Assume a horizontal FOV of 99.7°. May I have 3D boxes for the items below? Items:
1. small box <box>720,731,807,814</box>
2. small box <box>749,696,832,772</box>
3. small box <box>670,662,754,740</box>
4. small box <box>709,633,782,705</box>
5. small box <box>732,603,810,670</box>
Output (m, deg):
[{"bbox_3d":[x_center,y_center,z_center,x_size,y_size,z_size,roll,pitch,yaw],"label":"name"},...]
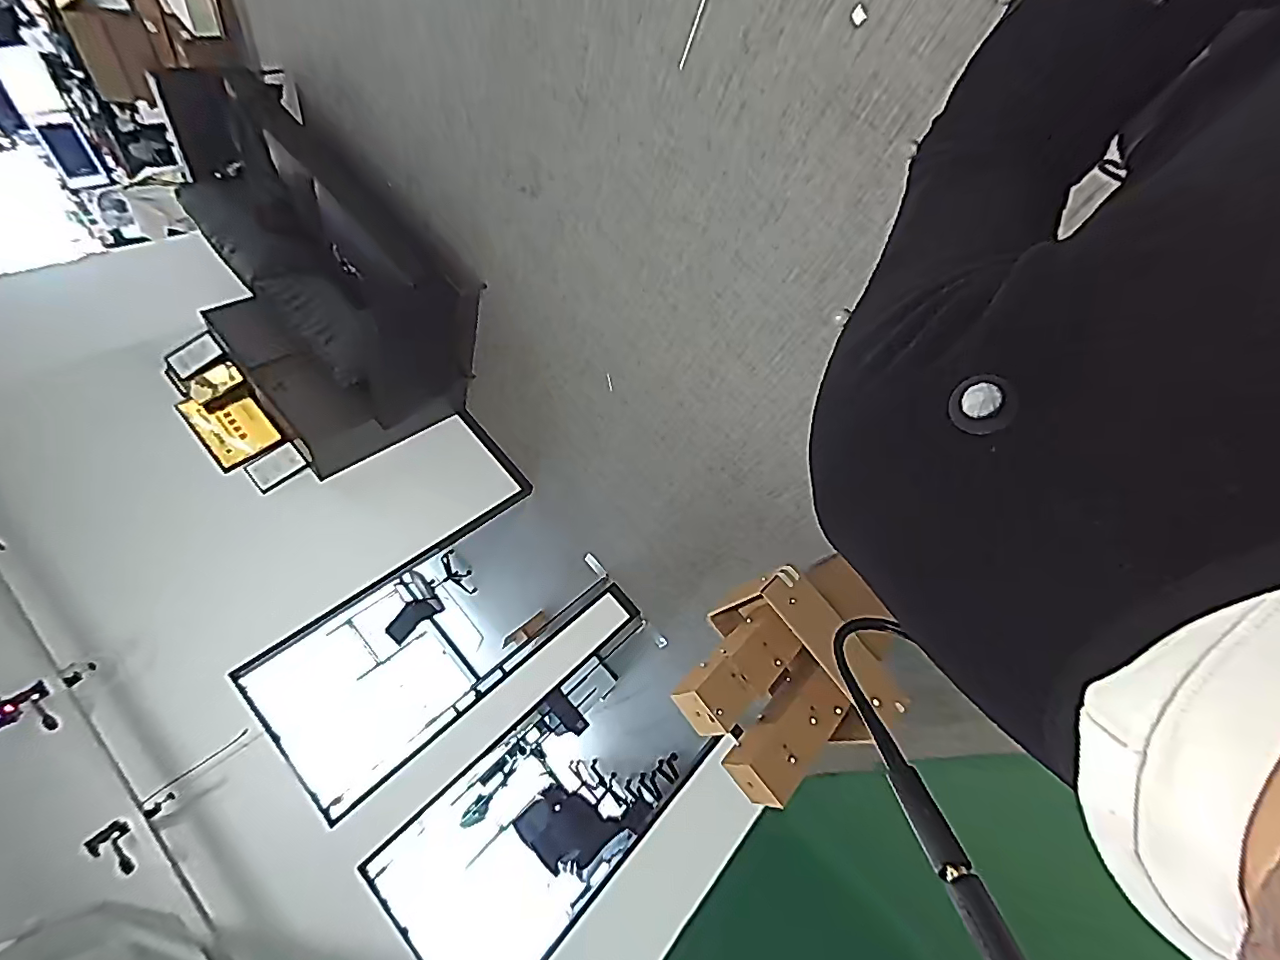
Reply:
[{"bbox_3d":[0.400,0.934,1.742,0.168,0.176,0.179,51,146,5],"label":"small box"},{"bbox_3d":[0.512,0.858,1.832,0.168,0.176,0.179,50,146,6],"label":"small box"},{"bbox_3d":[0.236,0.716,1.759,0.168,0.176,0.179,52,146,5],"label":"small box"},{"bbox_3d":[0.357,0.644,1.844,0.168,0.176,0.179,52,146,5],"label":"small box"},{"bbox_3d":[0.470,0.566,1.935,0.168,0.176,0.179,52,145,5],"label":"small box"}]
